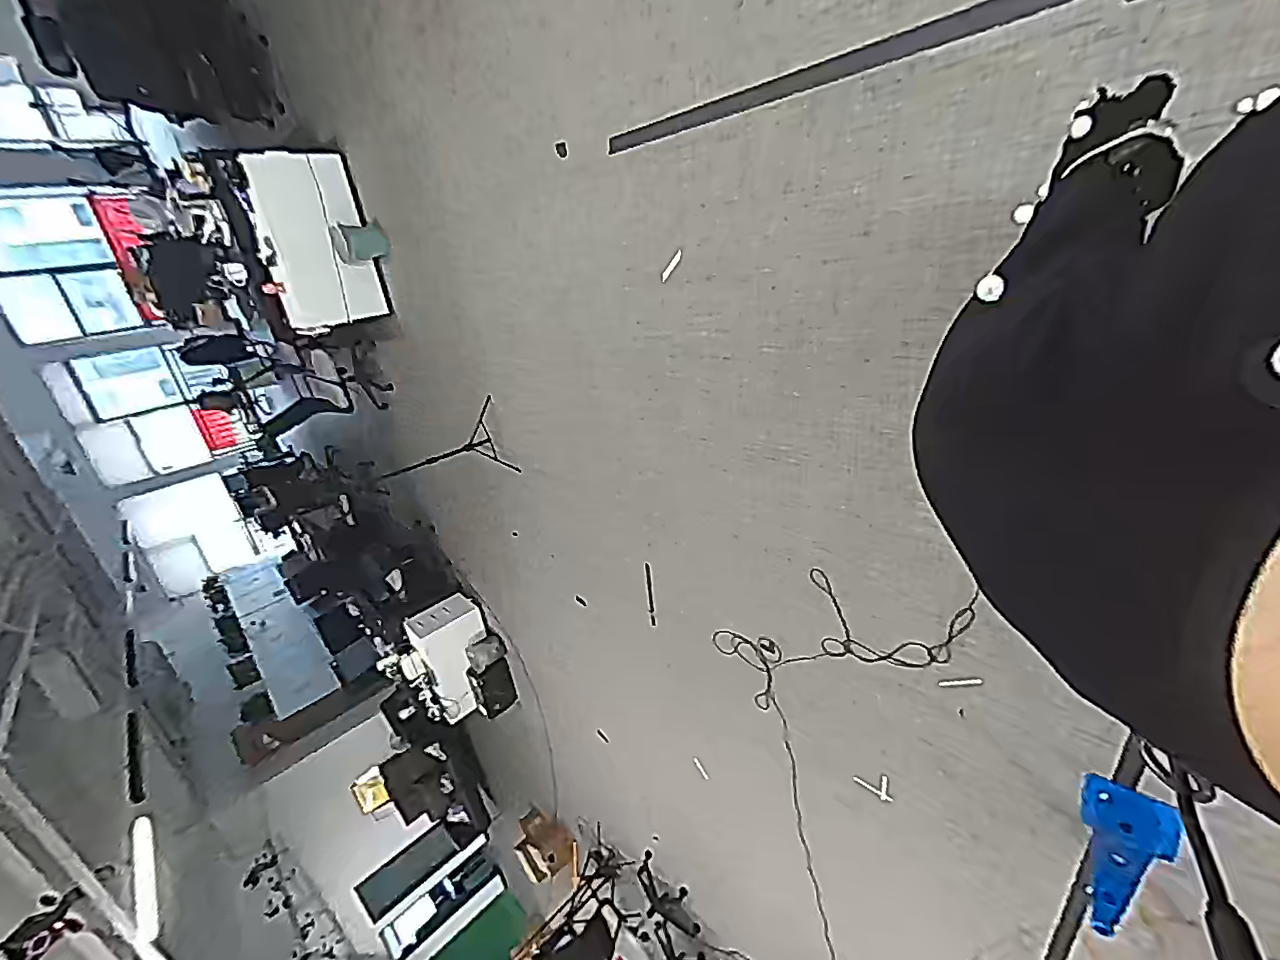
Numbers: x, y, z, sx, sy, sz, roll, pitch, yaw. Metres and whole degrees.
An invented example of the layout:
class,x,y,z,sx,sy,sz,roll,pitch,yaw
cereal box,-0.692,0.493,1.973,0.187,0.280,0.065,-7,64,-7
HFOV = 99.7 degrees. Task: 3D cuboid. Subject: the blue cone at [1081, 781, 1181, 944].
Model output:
class,x,y,z,sx,sy,sz,roll,pitch,yaw
blue cone,1.200,0.976,1.357,0.192,0.380,0.193,13,122,45
